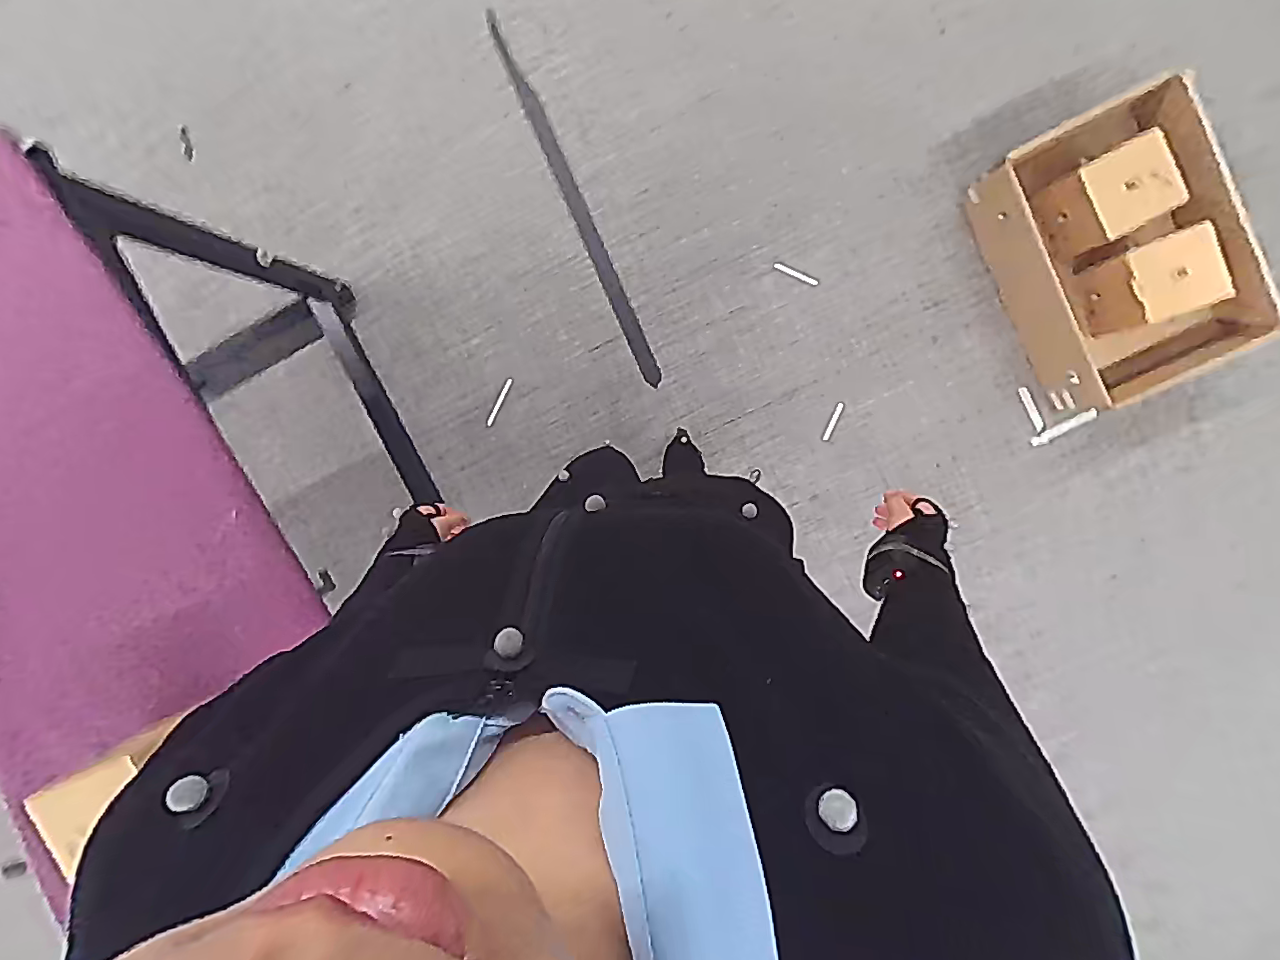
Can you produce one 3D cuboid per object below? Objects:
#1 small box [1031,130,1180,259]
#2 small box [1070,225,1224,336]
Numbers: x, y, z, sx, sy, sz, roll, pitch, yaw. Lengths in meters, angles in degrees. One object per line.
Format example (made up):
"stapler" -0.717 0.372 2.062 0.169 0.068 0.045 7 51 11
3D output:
"small box" 1.036 -0.632 1.225 0.179 0.176 0.168 -28 95 6
"small box" 1.150 -0.448 1.239 0.179 0.176 0.168 -21 93 6
